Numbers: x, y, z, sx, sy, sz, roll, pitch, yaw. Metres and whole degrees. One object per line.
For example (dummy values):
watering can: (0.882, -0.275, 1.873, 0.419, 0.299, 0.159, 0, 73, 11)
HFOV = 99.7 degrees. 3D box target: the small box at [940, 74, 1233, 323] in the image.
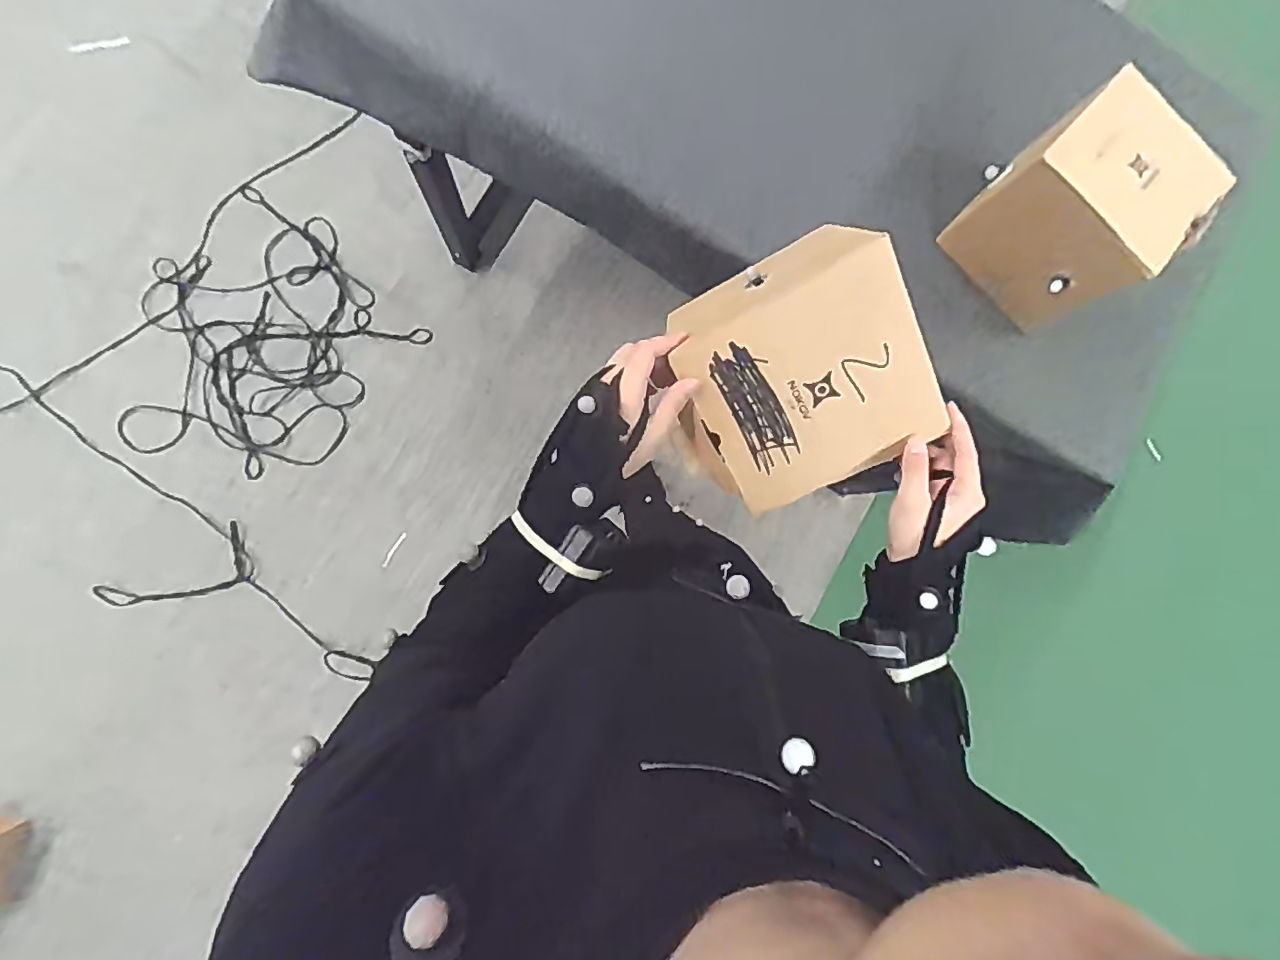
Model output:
small box: (0.516, -0.314, 0.649, 0.179, 0.176, 0.168, 44, 80, -1)

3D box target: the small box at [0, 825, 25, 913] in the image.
small box: (-1.388, 0.807, 1.058, 0.168, 0.176, 0.179, 10, 83, -6)
